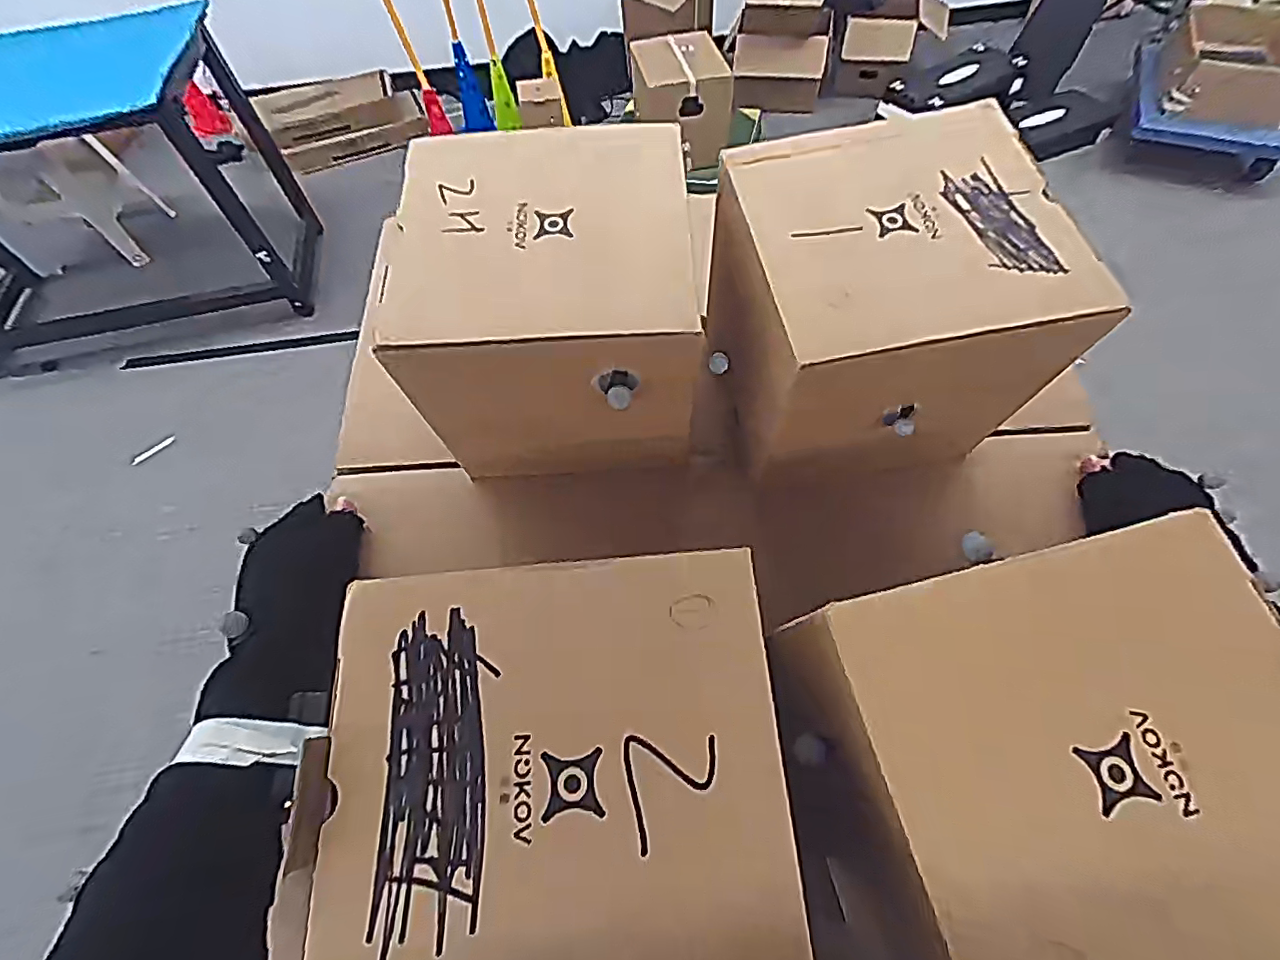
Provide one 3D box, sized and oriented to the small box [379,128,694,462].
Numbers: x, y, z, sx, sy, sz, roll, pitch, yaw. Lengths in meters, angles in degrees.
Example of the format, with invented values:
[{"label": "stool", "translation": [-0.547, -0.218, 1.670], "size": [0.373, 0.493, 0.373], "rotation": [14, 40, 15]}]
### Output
[{"label": "small box", "translation": [-0.057, -0.122, 0.400], "size": [0.179, 0.176, 0.168], "rotation": [-2, 66, 2]}]
